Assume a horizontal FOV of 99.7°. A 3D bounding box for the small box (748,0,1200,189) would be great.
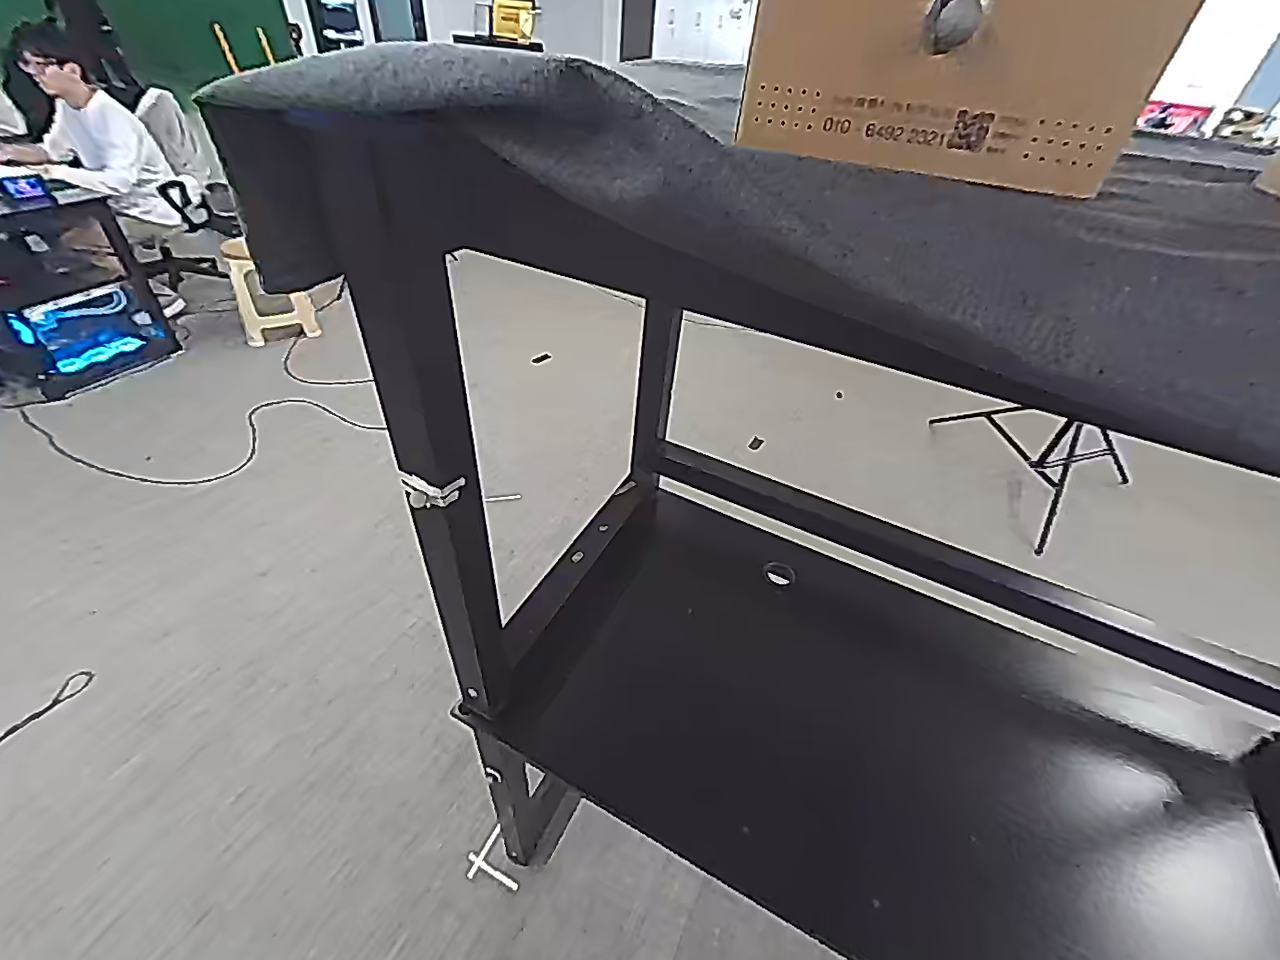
[{"bbox_3d":[0.159,-0.261,0.267,0.168,0.176,0.179,15,40,11],"label":"small box"}]
